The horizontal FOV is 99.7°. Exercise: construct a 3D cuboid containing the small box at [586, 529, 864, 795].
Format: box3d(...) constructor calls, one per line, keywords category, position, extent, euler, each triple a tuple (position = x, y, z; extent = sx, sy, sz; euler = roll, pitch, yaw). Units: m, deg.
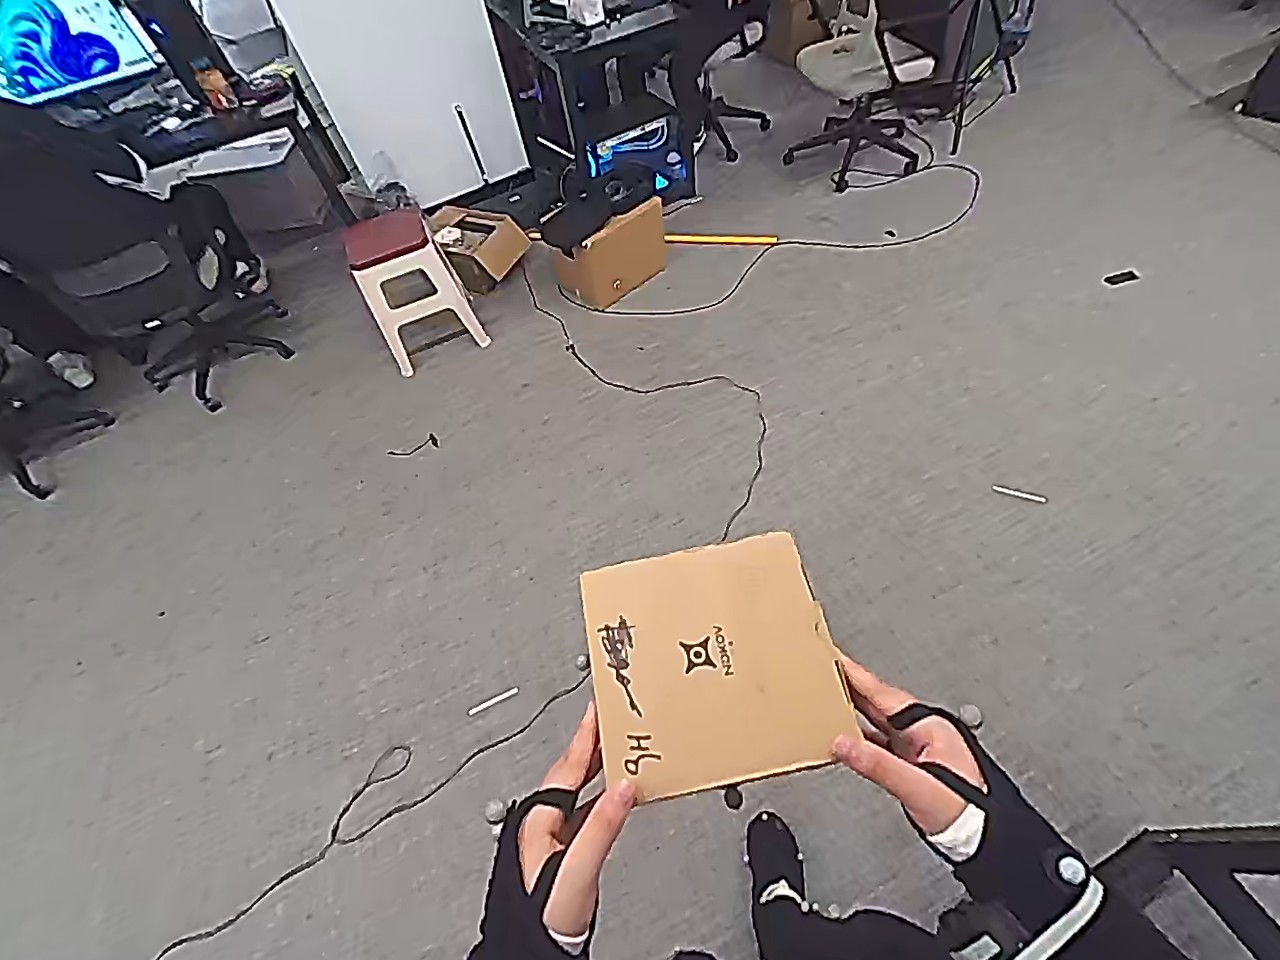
box3d(category="small box", position=(0.058, 0.163, 0.467), extent=(0.179, 0.176, 0.168), euler=(-11, 58, -2))
